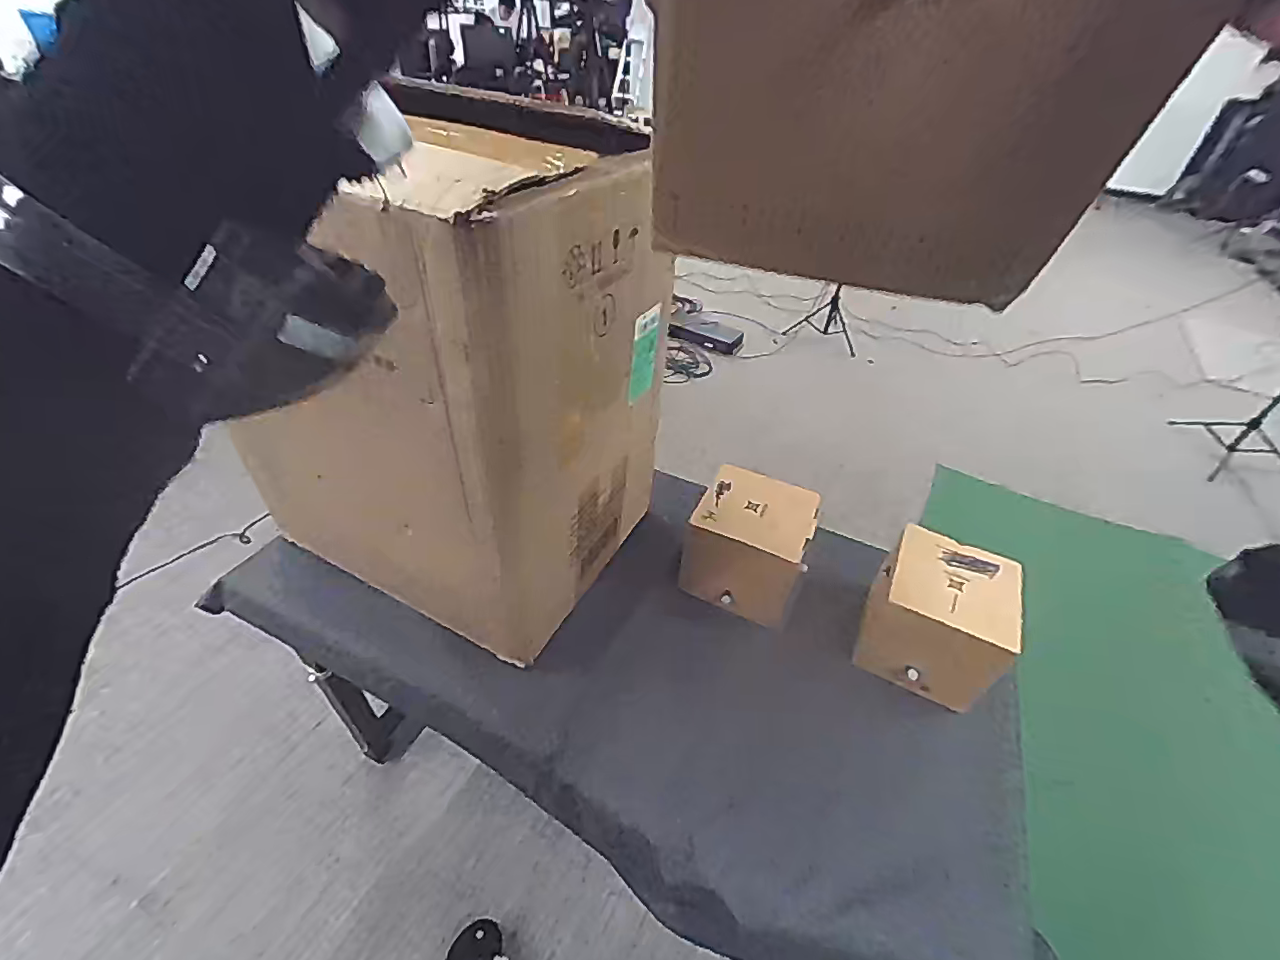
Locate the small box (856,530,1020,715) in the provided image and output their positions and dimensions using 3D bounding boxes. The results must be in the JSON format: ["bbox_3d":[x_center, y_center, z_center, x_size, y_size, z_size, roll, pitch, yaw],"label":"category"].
[{"bbox_3d":[0.448,0.215,0.826,0.168,0.176,0.179,22,44,19],"label":"small box"}]

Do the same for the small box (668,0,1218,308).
[{"bbox_3d":[0.115,-0.203,0.241,0.179,0.176,0.168,14,61,7],"label":"small box"}]
